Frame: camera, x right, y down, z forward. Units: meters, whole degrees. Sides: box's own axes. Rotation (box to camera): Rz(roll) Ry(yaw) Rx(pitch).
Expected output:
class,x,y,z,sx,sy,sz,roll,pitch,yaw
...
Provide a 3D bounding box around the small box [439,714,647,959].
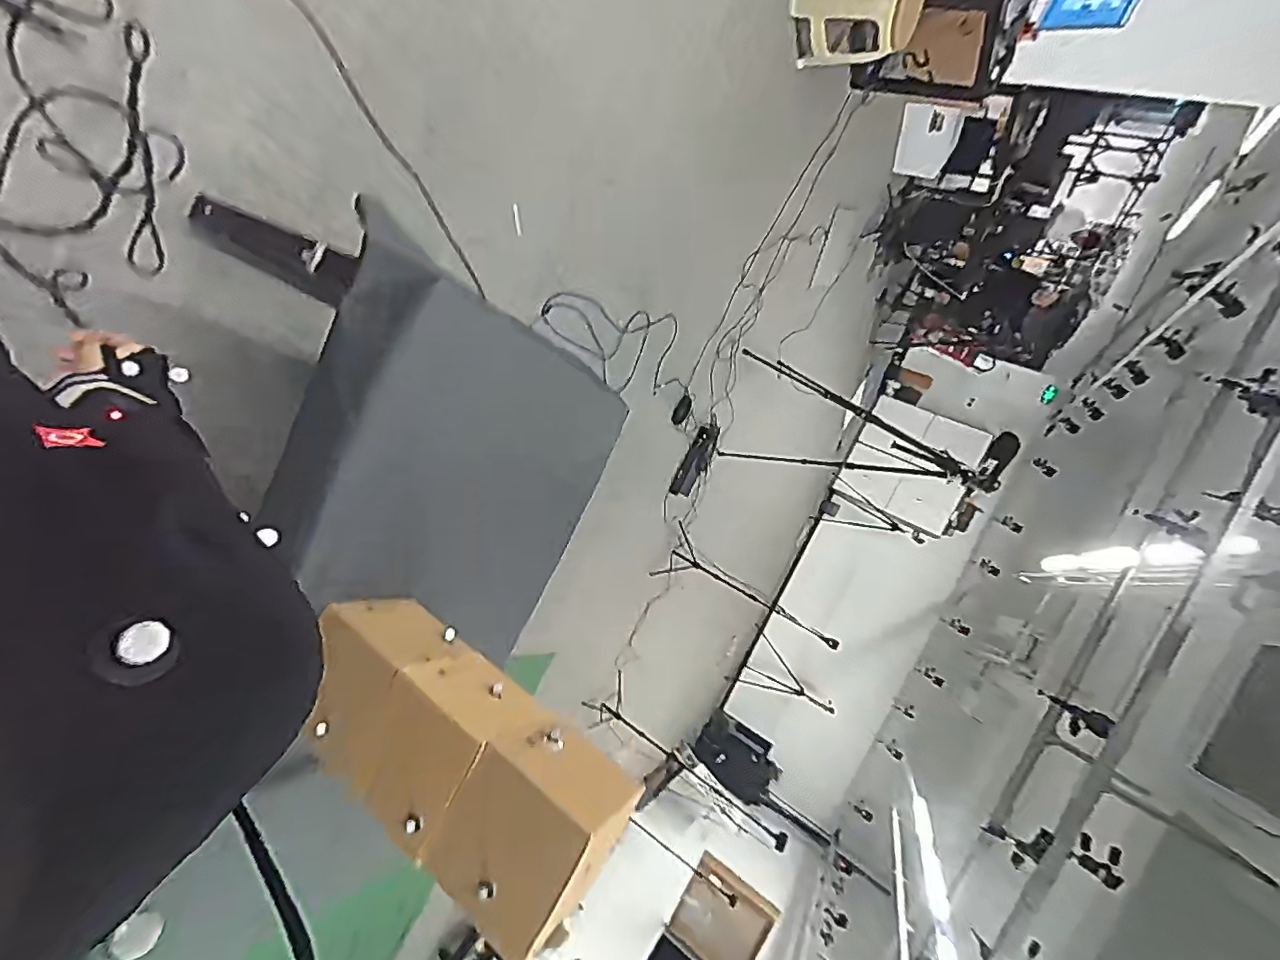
class,x,y,z,sx,sy,sz,roll,pitch,yaw
small box,-0.124,0.439,0.694,0.179,0.176,0.168,-63,156,1

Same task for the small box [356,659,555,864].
class,x,y,z,sx,sy,sz,roll,pitch,yaw
small box,-0.257,0.370,0.758,0.179,0.176,0.168,-62,155,1
